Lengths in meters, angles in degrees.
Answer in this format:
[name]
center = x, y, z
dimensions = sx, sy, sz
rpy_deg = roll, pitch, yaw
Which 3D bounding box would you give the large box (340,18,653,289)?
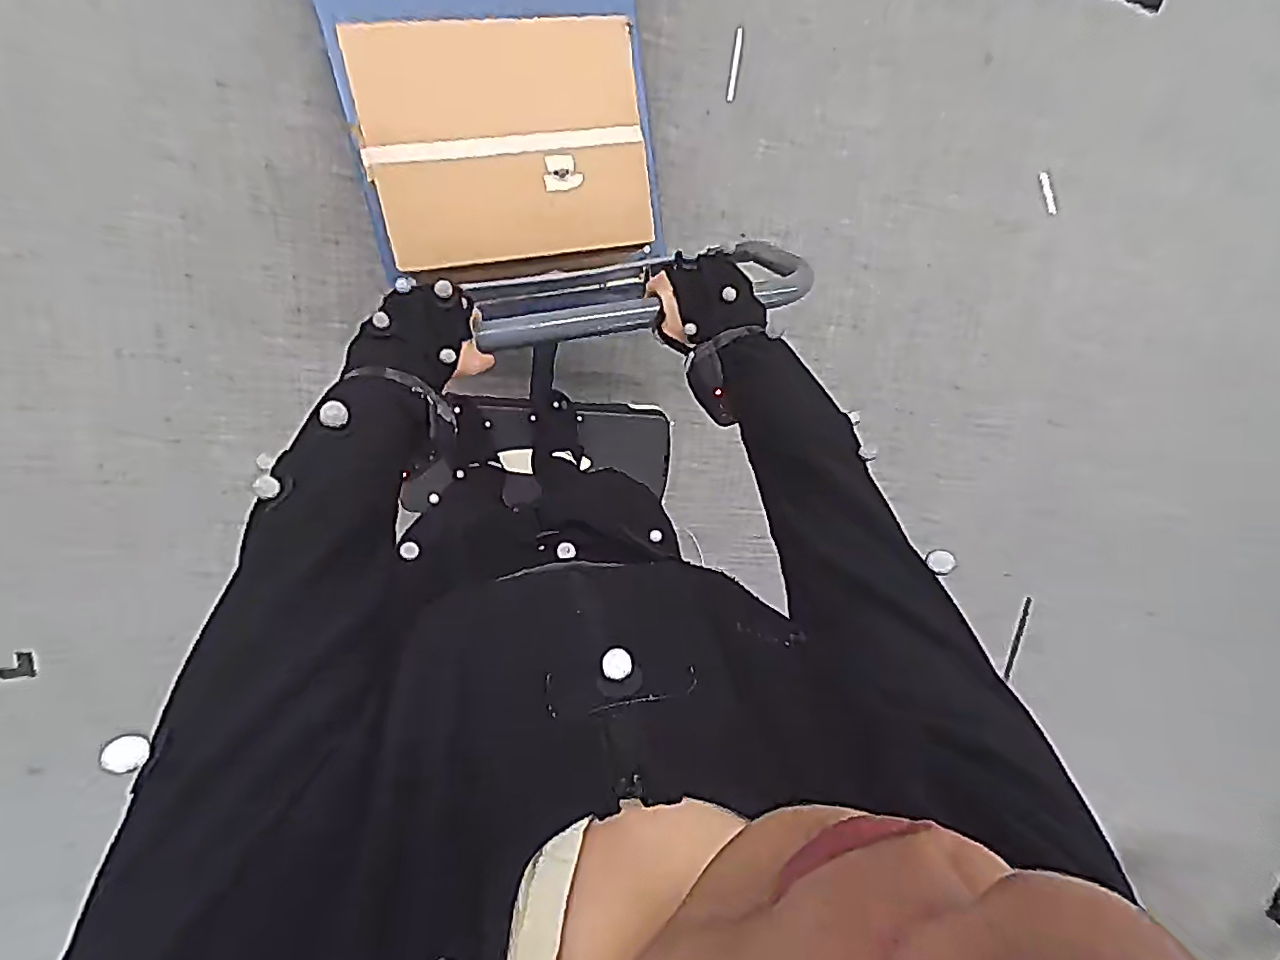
[large box]
center = -0.230, -0.532, 0.939
dimensions = 0.408, 0.320, 0.320
rpy_deg = -13, 108, -13
